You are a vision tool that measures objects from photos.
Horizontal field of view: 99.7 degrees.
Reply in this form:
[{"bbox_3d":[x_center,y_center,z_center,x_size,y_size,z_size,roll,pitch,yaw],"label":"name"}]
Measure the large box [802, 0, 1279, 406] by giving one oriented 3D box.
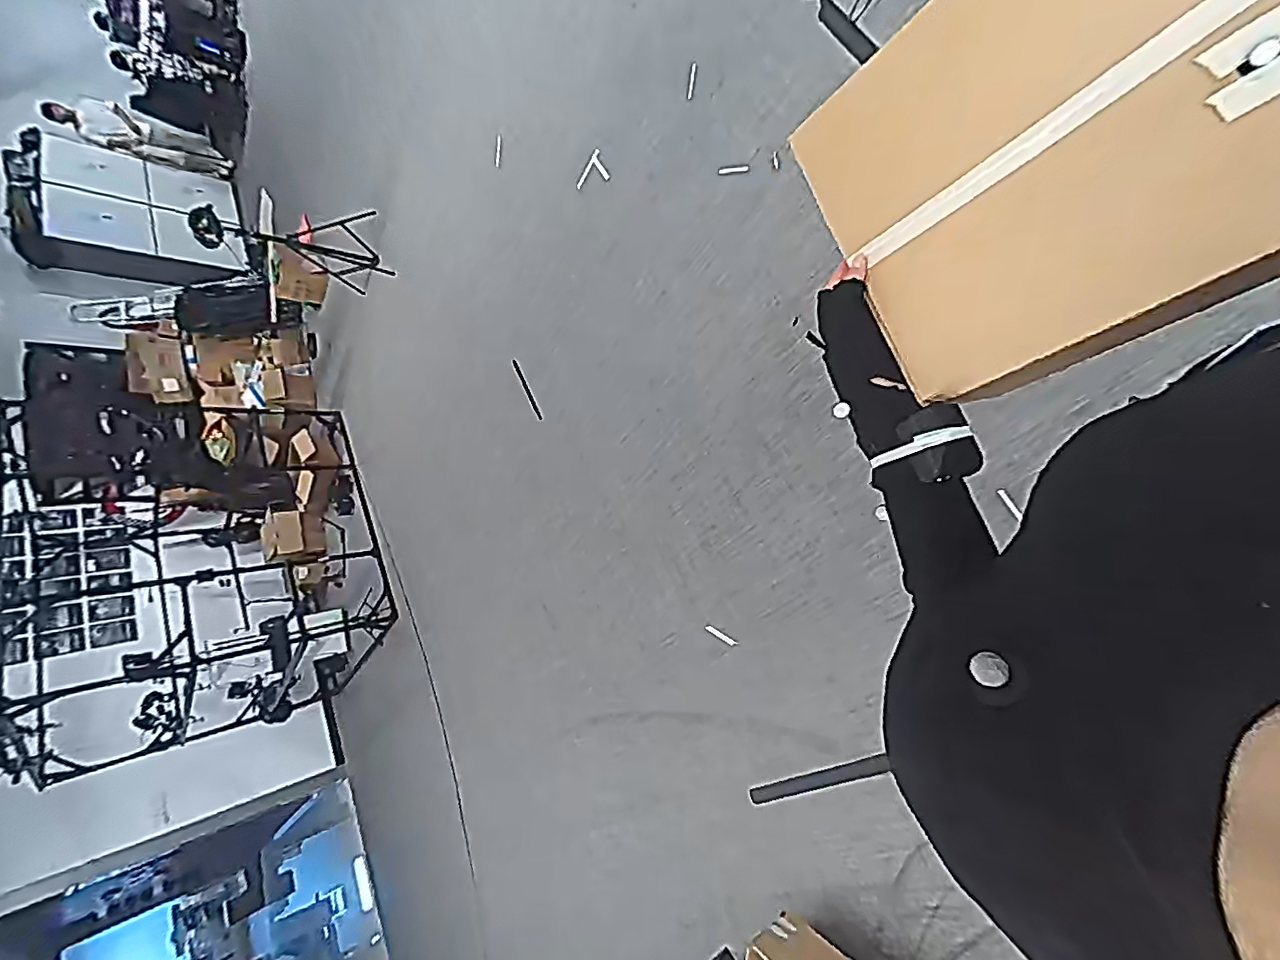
[{"bbox_3d":[0.446,-0.299,0.512,0.408,0.320,0.320,-30,78,41],"label":"large box"}]
